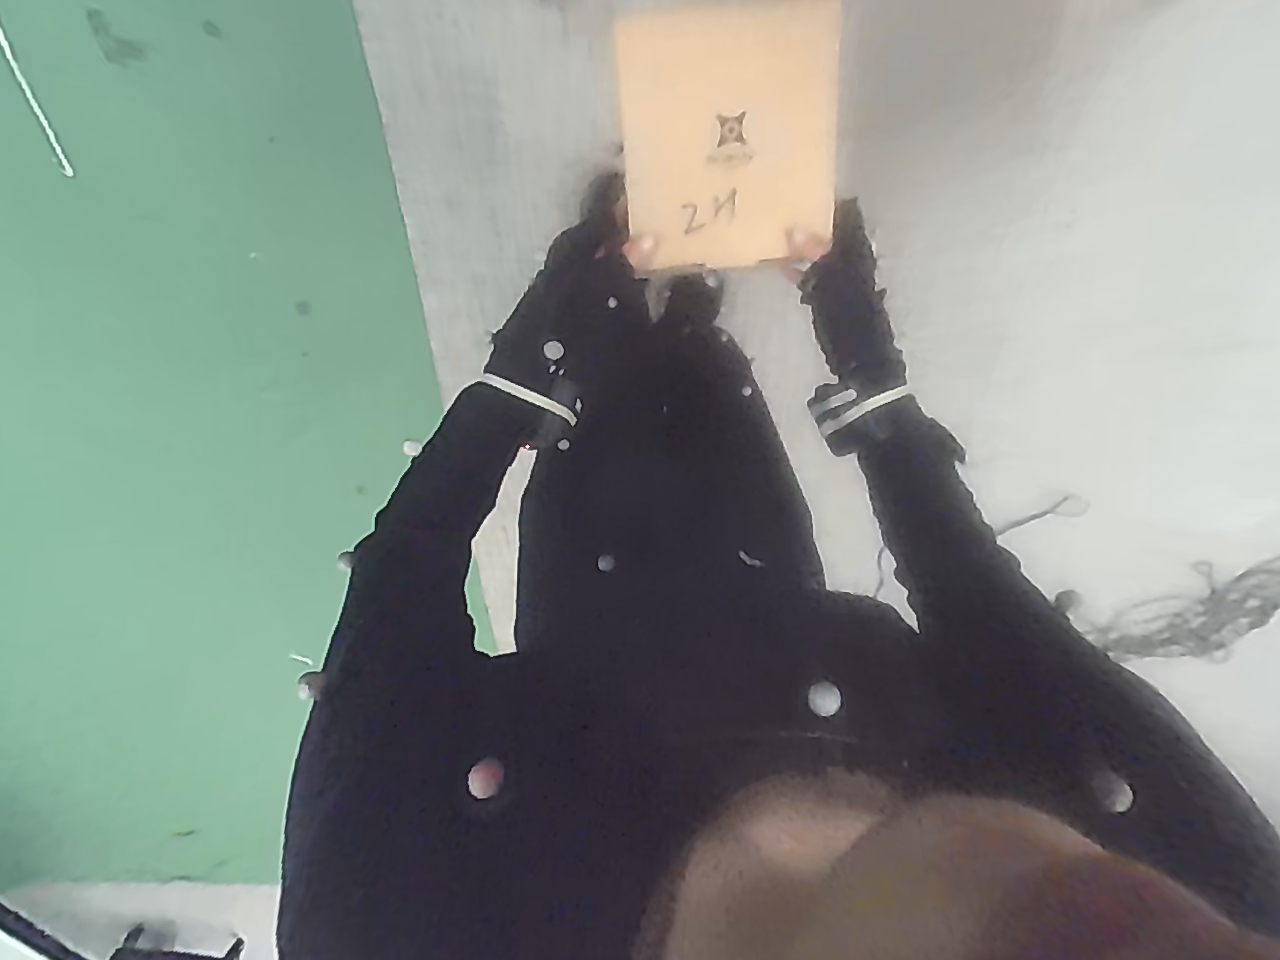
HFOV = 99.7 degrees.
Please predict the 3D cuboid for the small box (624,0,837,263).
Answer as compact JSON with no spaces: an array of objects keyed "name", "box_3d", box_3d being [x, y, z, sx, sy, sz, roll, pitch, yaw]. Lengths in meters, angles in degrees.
[{"name":"small box","box_3d":[0.072,-0.306,0.505,0.168,0.176,0.179,-4,109,2]}]
